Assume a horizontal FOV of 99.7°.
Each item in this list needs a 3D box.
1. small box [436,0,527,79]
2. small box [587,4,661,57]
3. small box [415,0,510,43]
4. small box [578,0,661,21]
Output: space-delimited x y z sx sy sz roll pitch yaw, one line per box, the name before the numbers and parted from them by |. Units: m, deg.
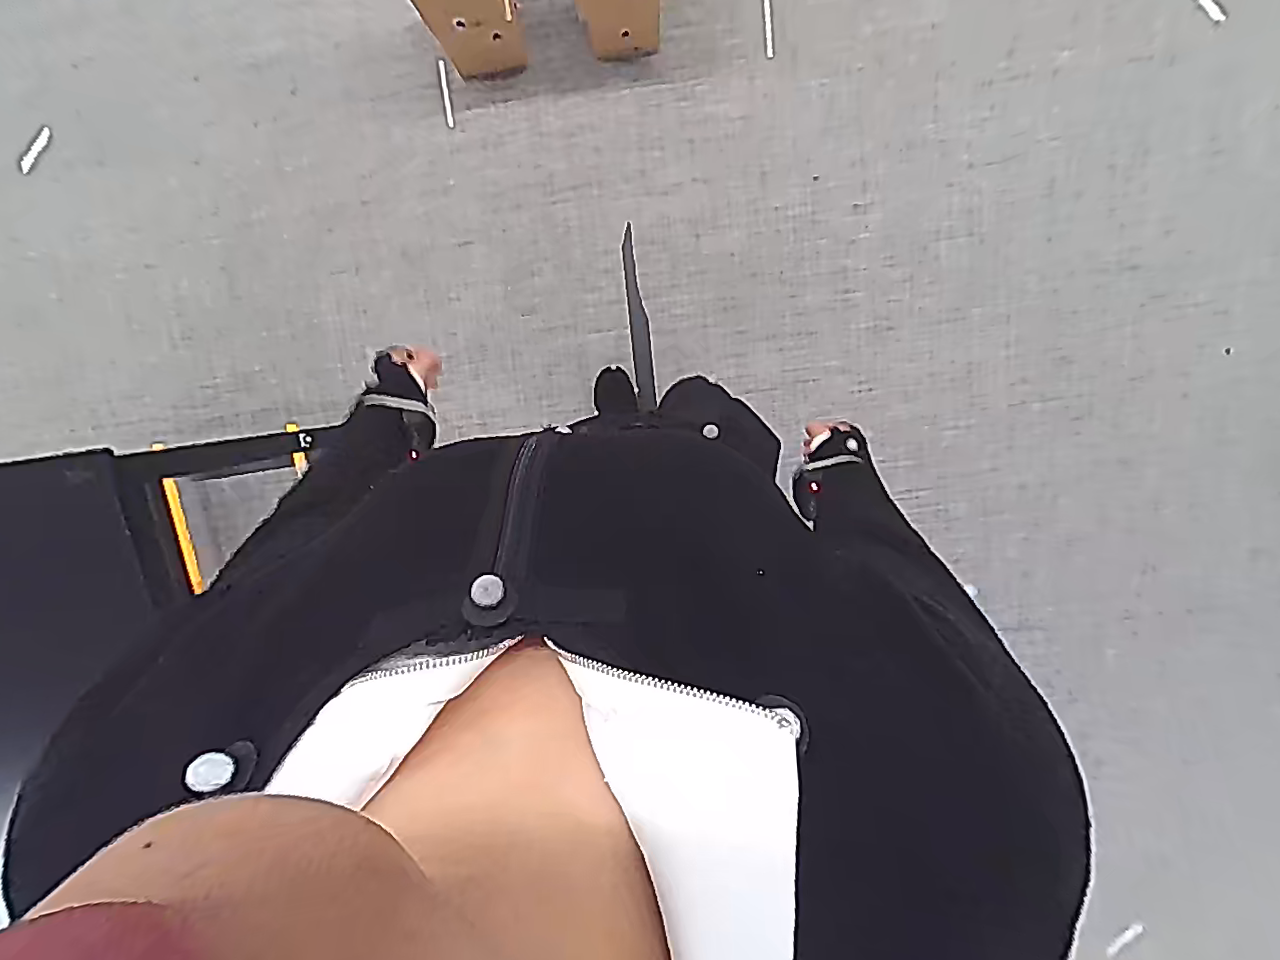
small box | -0.365 -1.061 1.235 0.179 0.176 0.168 -9 99 4
small box | -0.040 -1.097 1.223 0.168 0.176 0.179 -5 101 2
small box | -0.372 -1.028 1.076 0.168 0.176 0.179 -8 101 5
small box | -0.051 -1.051 1.063 0.179 0.176 0.168 -7 100 2
